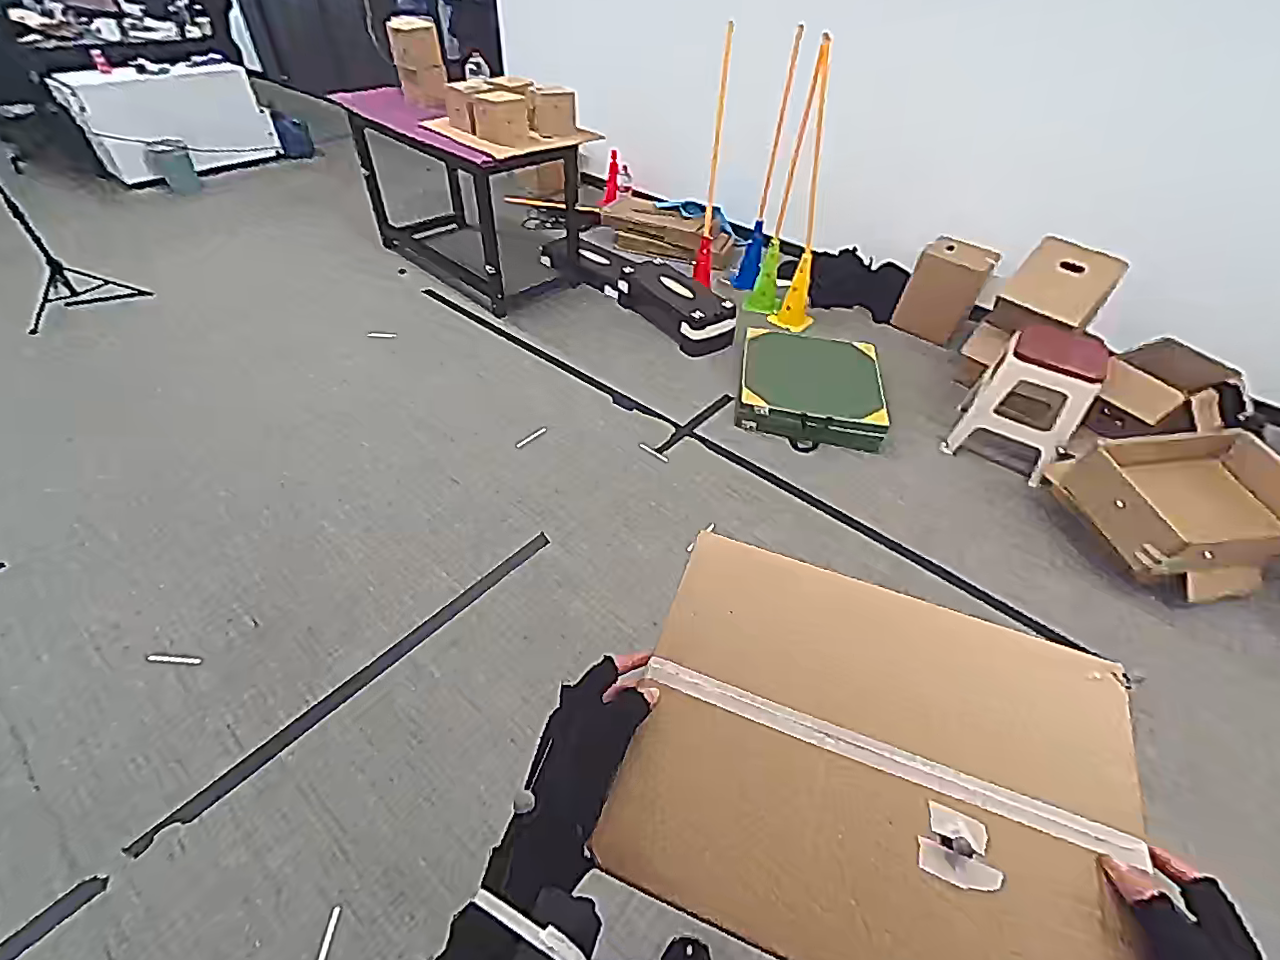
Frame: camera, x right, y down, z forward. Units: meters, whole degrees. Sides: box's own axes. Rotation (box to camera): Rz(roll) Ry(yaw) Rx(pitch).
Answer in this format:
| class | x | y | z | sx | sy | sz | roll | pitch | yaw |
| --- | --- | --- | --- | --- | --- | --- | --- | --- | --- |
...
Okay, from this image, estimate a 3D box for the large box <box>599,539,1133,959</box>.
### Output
| class | x | y | z | sx | sy | sz | roll | pitch | yaw |
| --- | --- | --- | --- | --- | --- | --- | --- | --- | --- |
| large box | 0.201 | 0.320 | 0.597 | 0.408 | 0.320 | 0.320 | 18 | 58 | 12 |
